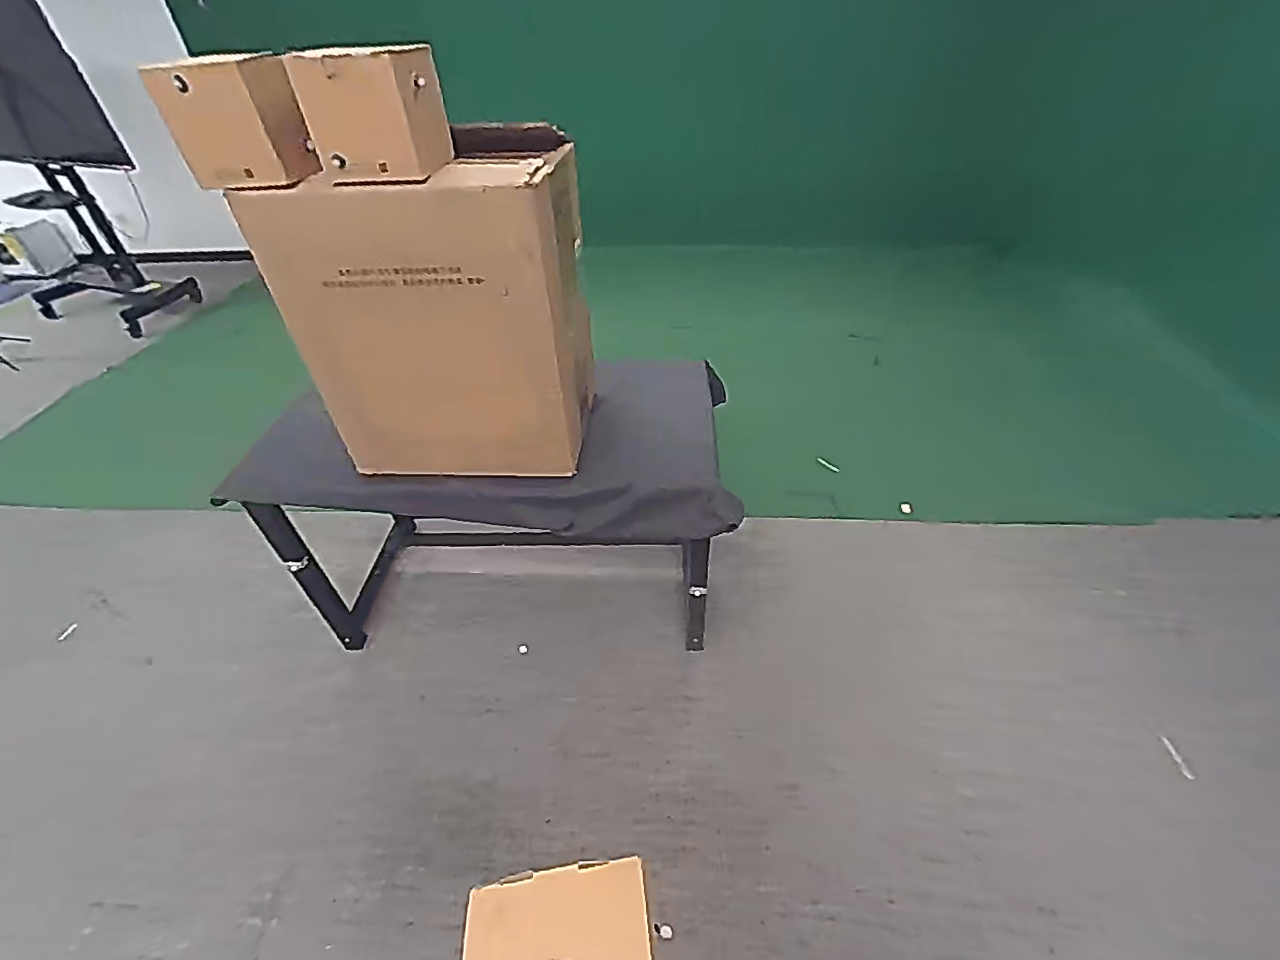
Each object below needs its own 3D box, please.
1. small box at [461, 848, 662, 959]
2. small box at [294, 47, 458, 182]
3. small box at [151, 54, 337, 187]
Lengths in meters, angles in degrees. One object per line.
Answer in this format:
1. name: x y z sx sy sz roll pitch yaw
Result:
1. small box: -0.063 0.480 0.498 0.168 0.176 0.179 -10 37 -1
2. small box: -0.423 -0.611 0.907 0.168 0.176 0.179 1 41 4
3. small box: -0.647 -0.610 0.921 0.168 0.176 0.179 0 41 8
